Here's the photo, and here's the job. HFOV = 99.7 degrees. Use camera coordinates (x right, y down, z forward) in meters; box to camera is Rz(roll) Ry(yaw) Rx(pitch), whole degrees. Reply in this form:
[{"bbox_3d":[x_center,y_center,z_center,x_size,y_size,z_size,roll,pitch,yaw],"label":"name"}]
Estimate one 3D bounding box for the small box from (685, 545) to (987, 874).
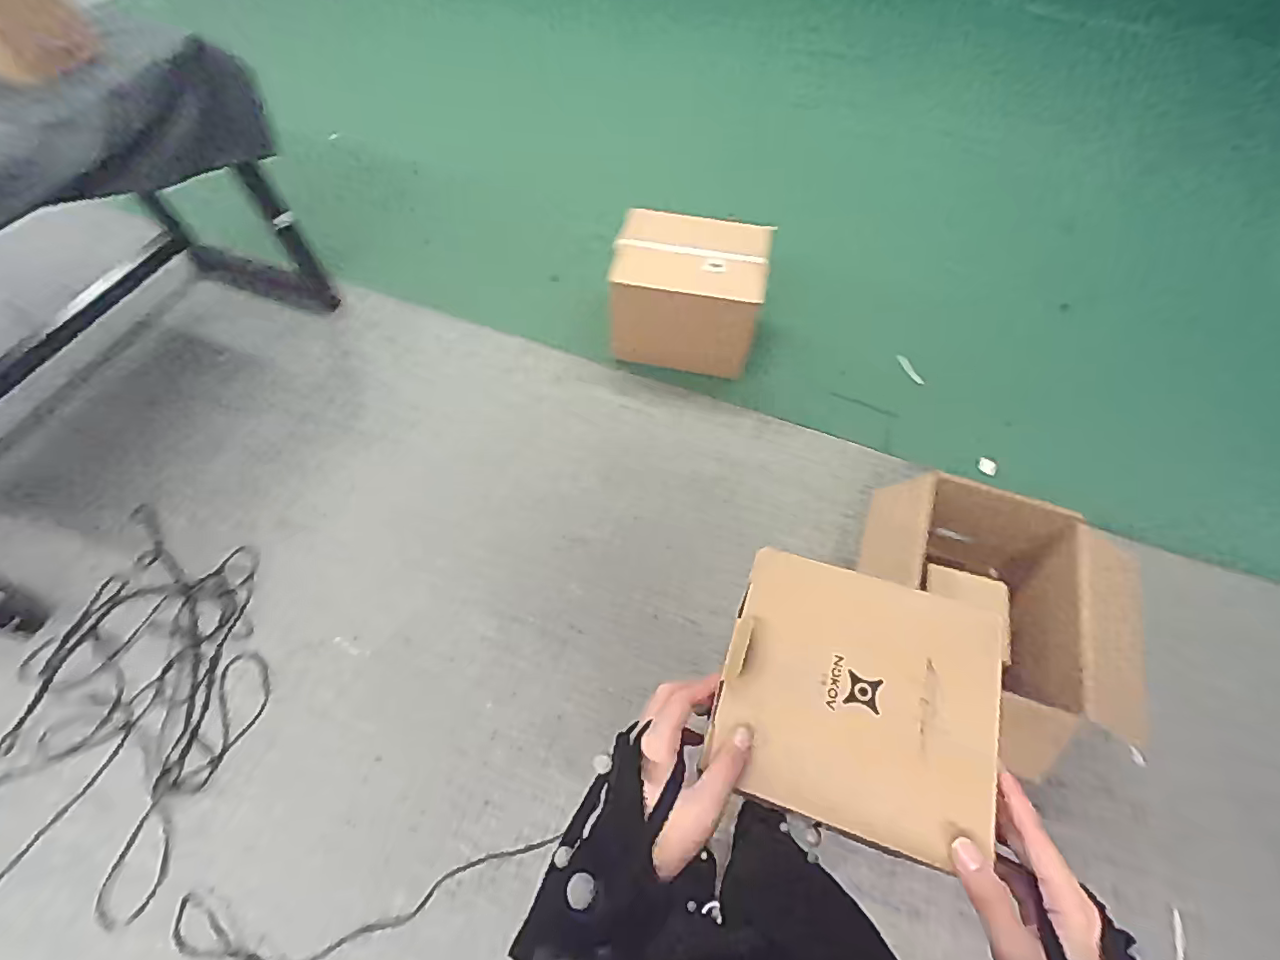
[{"bbox_3d":[0.139,0.175,0.426,0.179,0.176,0.168,14,63,11],"label":"small box"}]
